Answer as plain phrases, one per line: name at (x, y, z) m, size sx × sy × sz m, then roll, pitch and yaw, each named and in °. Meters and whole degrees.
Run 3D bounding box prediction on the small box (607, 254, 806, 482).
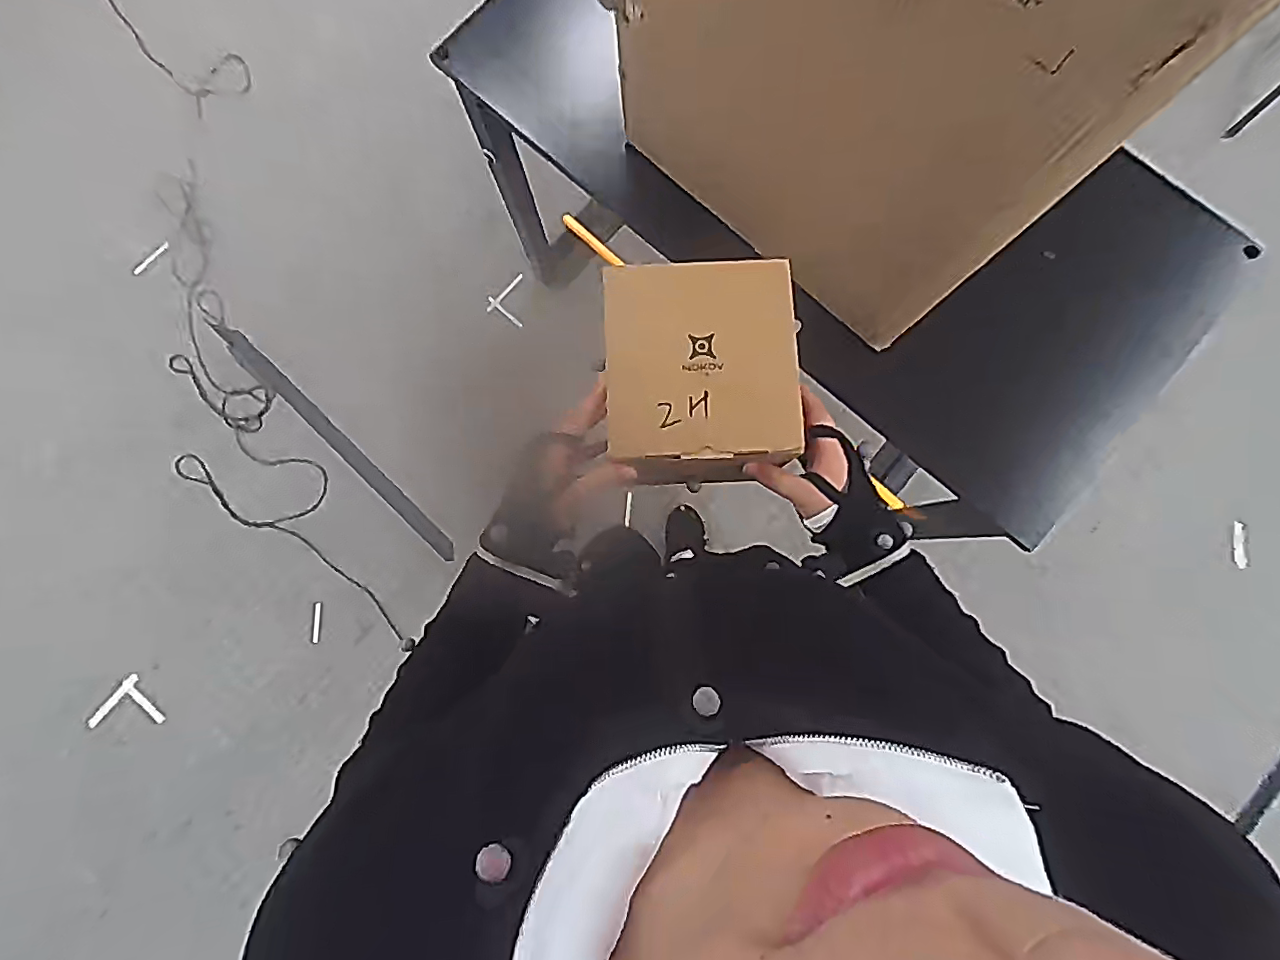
small box at (0.054, -0.097, 0.535) m, size 0.168 × 0.176 × 0.179 m, roll -2°, pitch 82°, yaw 1°
